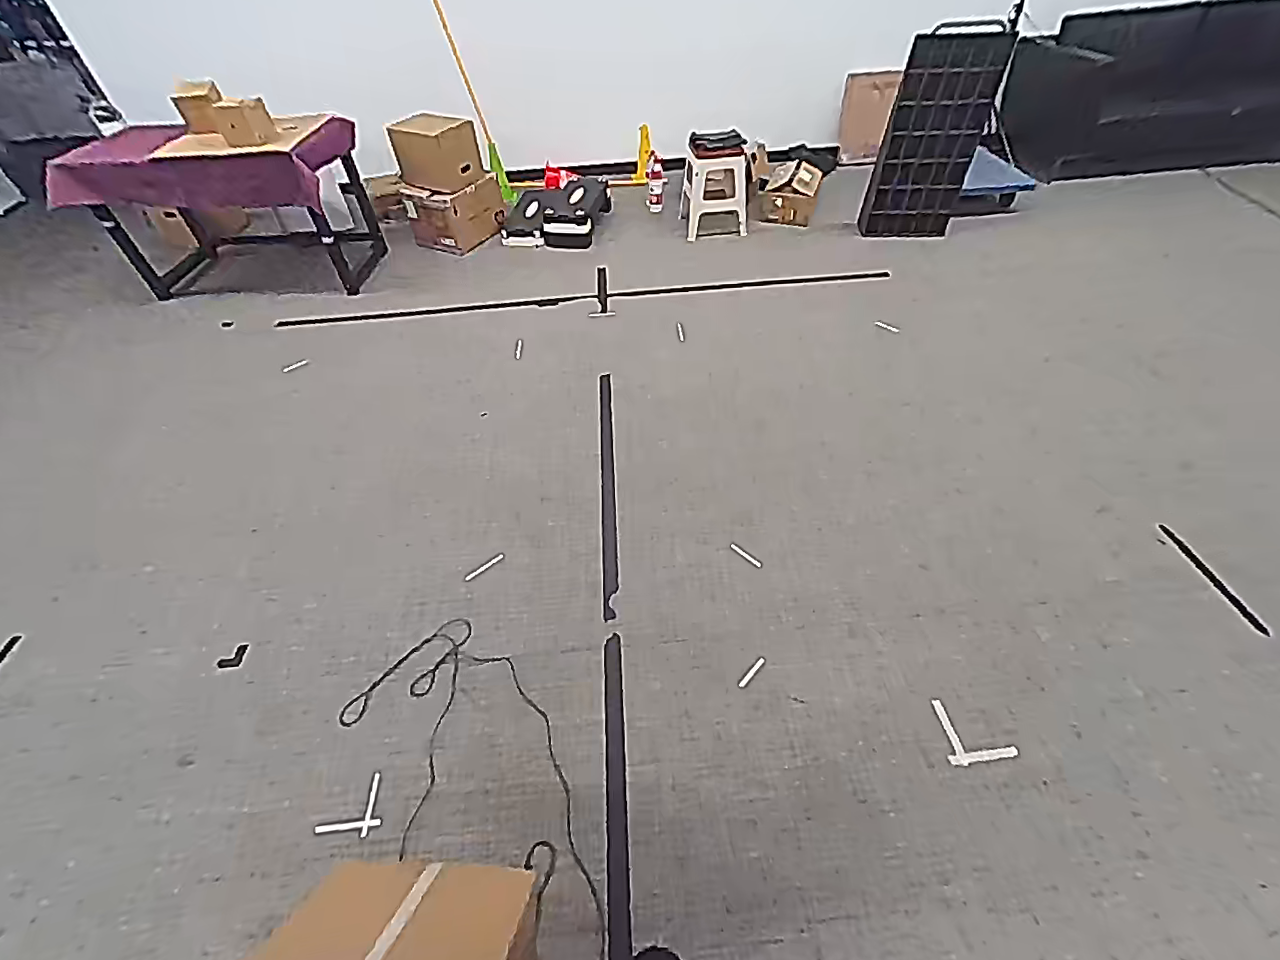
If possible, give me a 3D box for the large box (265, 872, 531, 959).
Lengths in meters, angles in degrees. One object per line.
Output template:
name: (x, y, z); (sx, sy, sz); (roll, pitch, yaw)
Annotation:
large box: (-0.328, 0.756, 0.637); (0.320, 0.408, 0.320); (0, 86, 2)
